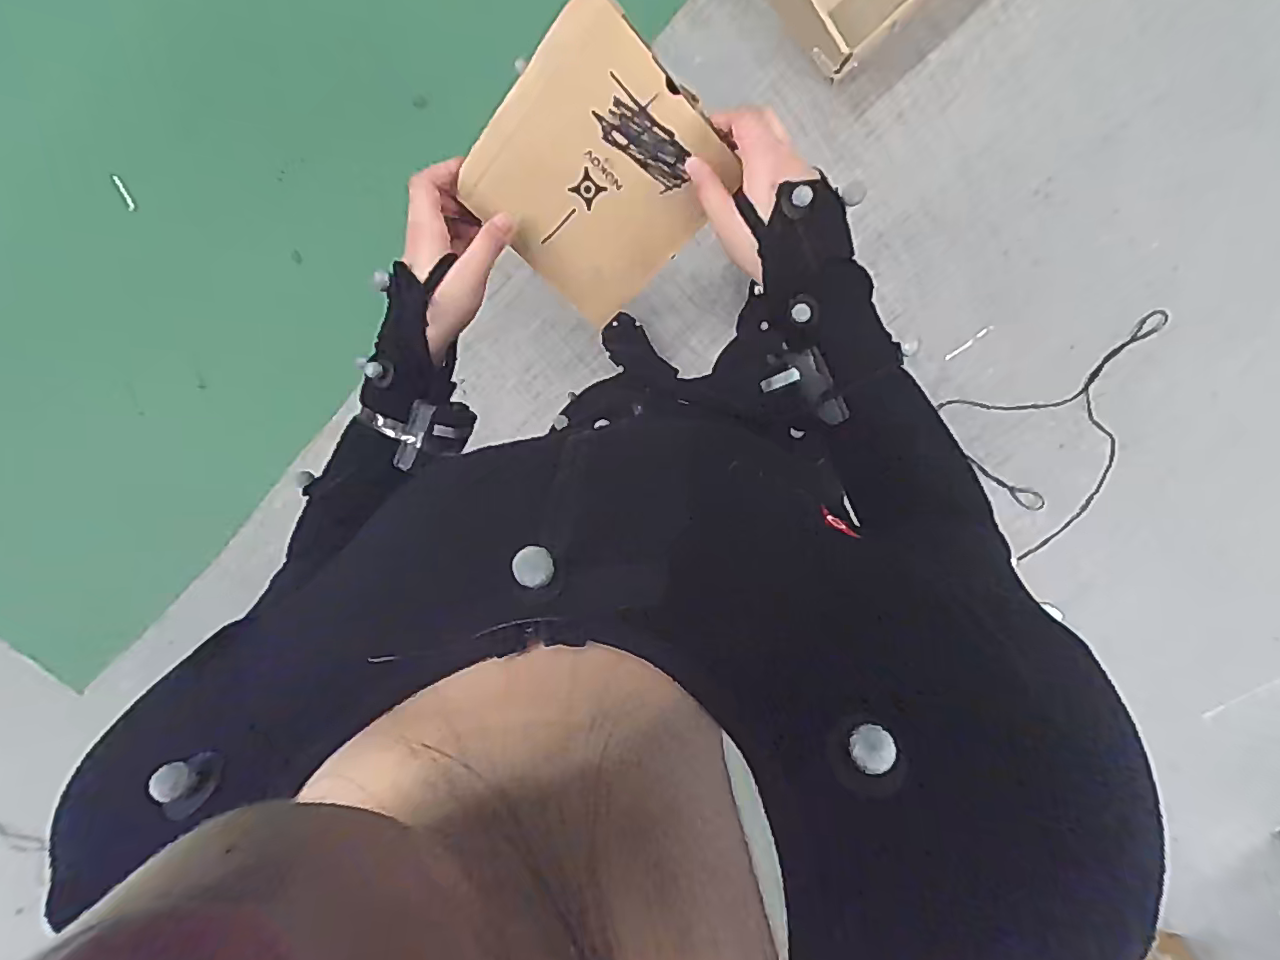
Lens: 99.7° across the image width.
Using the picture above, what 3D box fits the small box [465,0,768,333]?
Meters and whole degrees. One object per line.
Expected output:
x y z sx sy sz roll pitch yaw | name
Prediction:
-0.018 -0.271 0.473 0.168 0.176 0.179 38 120 -23 | small box
